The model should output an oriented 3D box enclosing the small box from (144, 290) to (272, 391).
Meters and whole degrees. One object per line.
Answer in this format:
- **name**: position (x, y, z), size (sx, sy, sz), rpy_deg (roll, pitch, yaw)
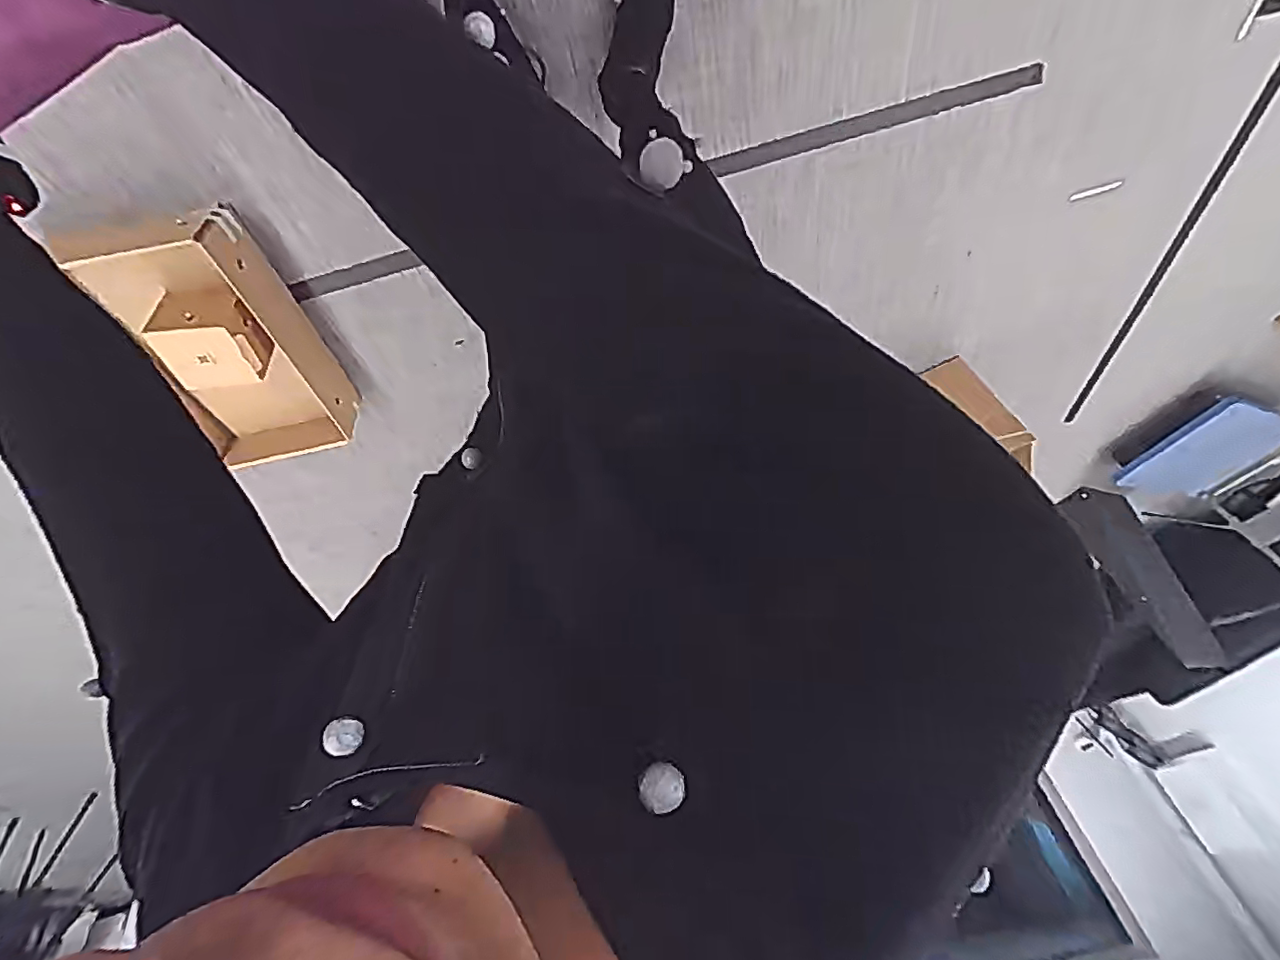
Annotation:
- **small box**: position (-1.020, -0.338, 1.299), size (0.179, 0.176, 0.168), rpy_deg (-8, 141, -9)
